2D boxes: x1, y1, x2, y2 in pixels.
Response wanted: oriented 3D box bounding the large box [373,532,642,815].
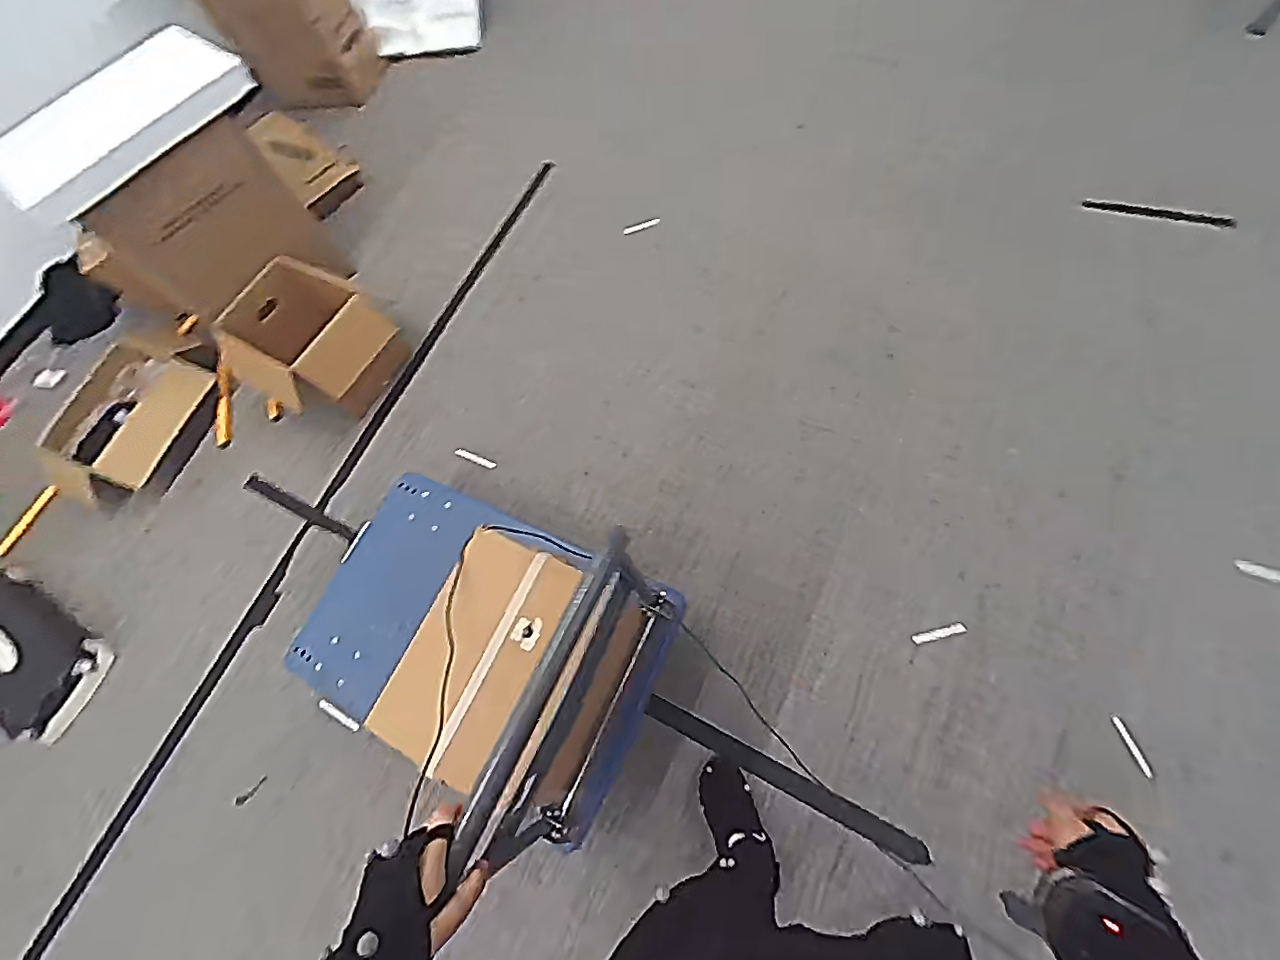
[{"bbox_3d":[-0.235,0.380,1.101,0.320,0.320,0.408,20,72,18],"label":"large box"}]
